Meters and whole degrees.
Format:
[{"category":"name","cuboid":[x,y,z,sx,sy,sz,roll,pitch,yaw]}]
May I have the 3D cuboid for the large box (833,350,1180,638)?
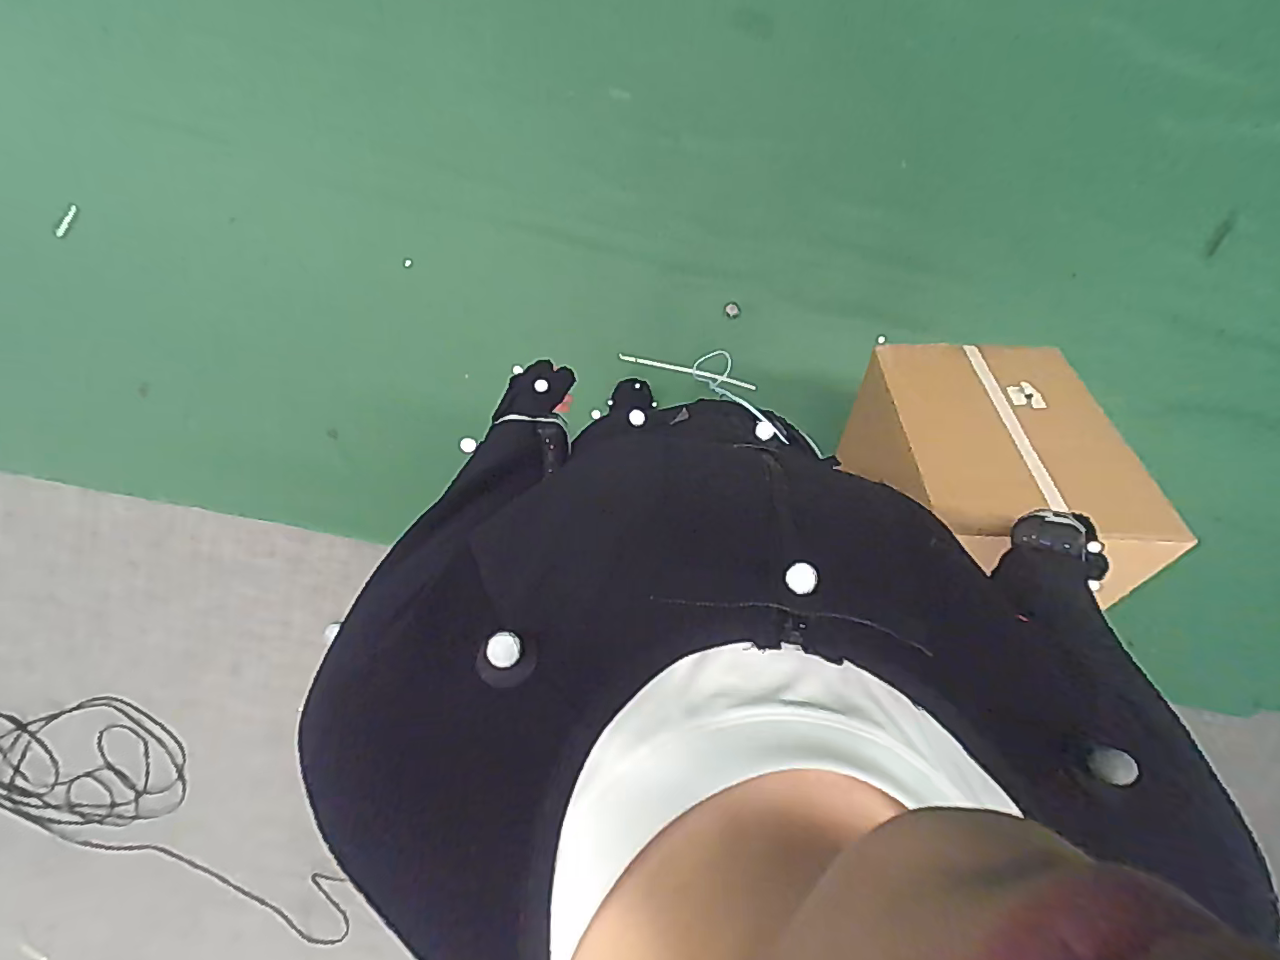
[{"category":"large box","cuboid":[0.555,0.024,0.937,0.320,0.408,0.320,2,139,3]}]
